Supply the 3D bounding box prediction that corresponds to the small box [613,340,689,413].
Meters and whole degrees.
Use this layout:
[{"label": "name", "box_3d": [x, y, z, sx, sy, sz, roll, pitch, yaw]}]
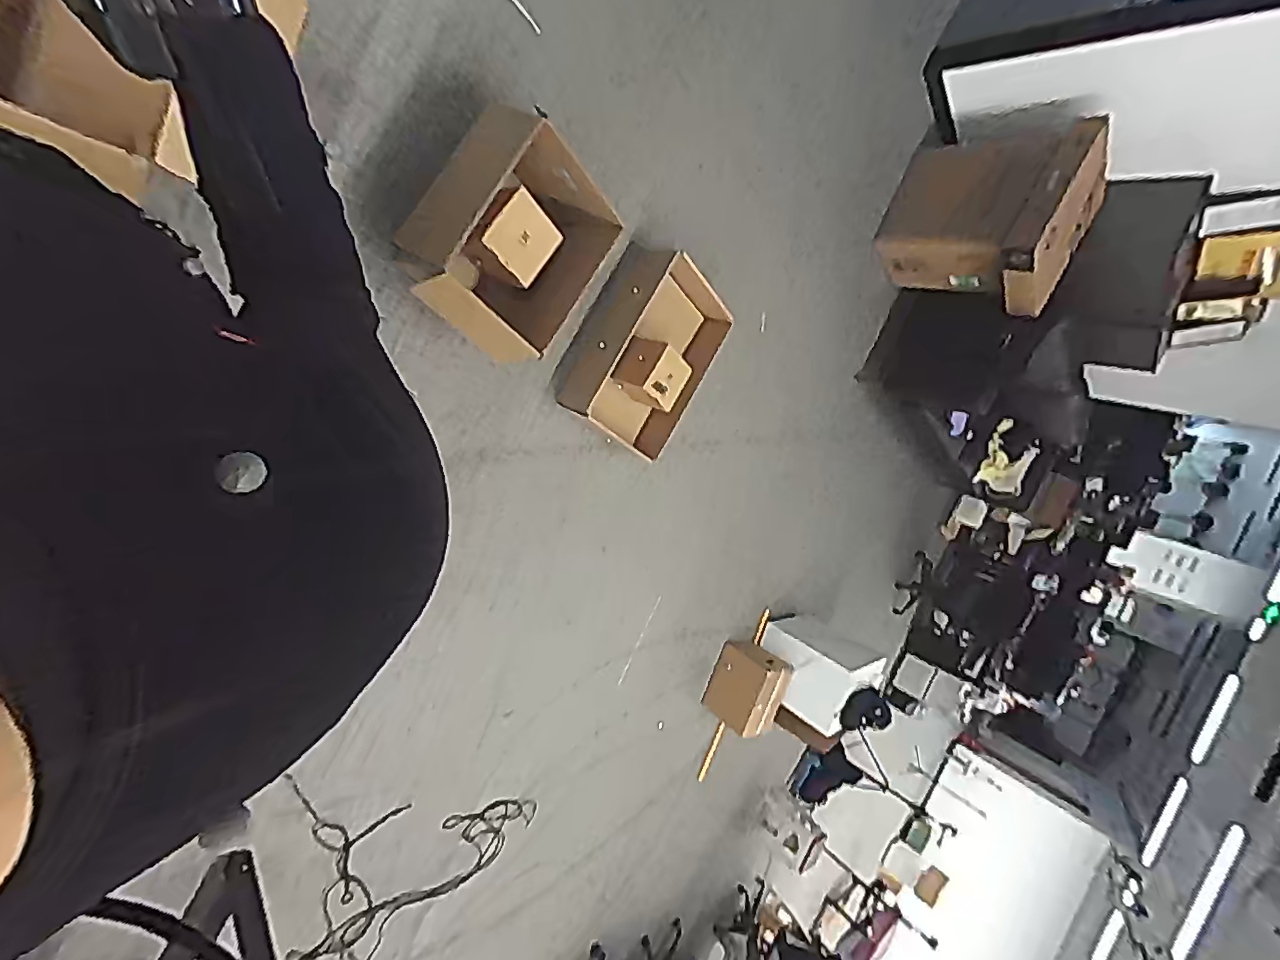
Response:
[{"label": "small box", "box_3d": [0.032, -0.360, 1.864, 0.168, 0.176, 0.179, 38, 80, -48]}]
